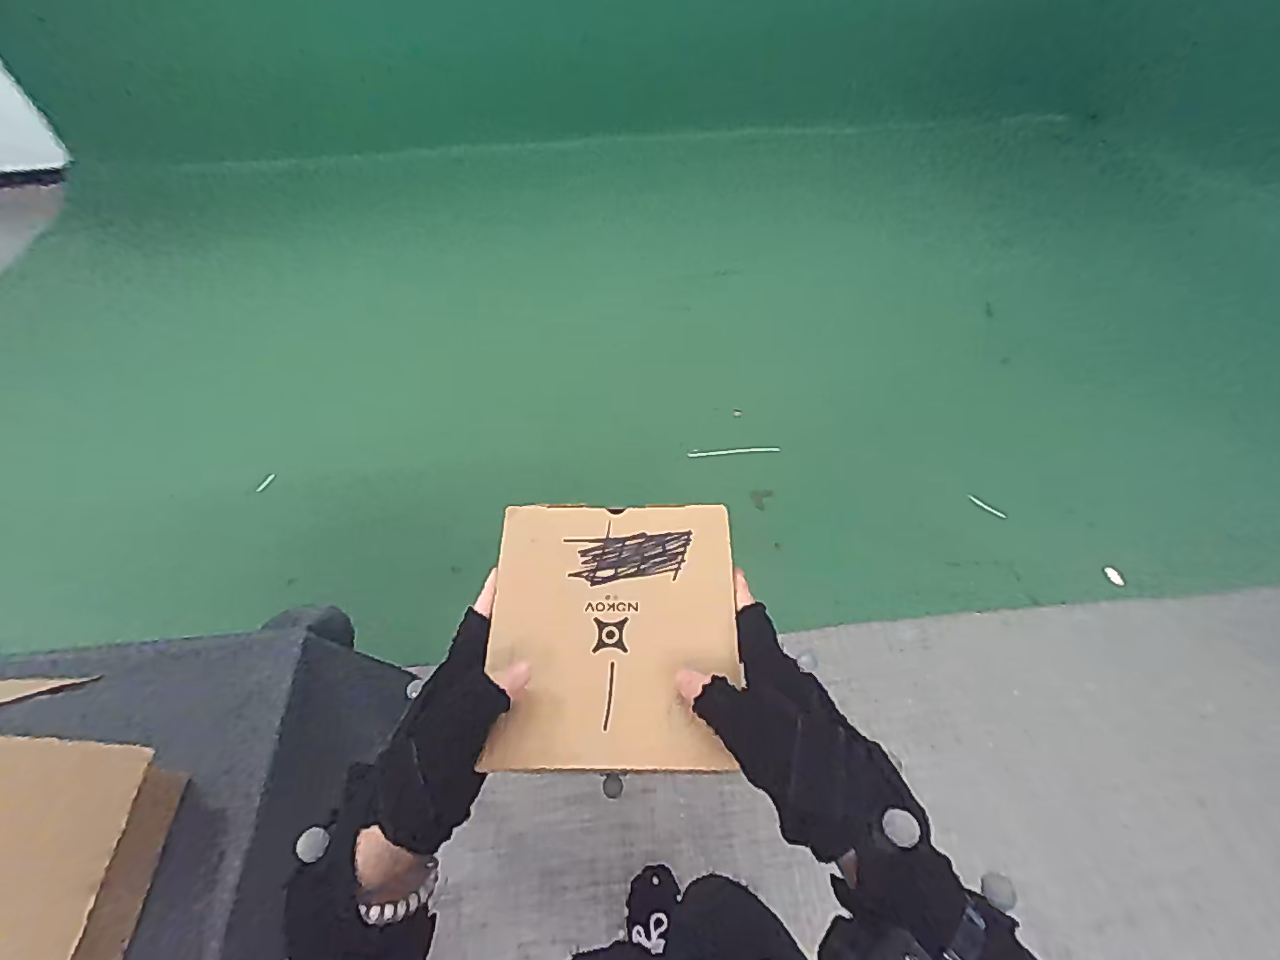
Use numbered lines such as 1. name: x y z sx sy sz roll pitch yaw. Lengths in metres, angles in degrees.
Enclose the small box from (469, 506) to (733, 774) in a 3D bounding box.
1. small box: -0.022 0.136 0.439 0.168 0.176 0.179 0 61 2
